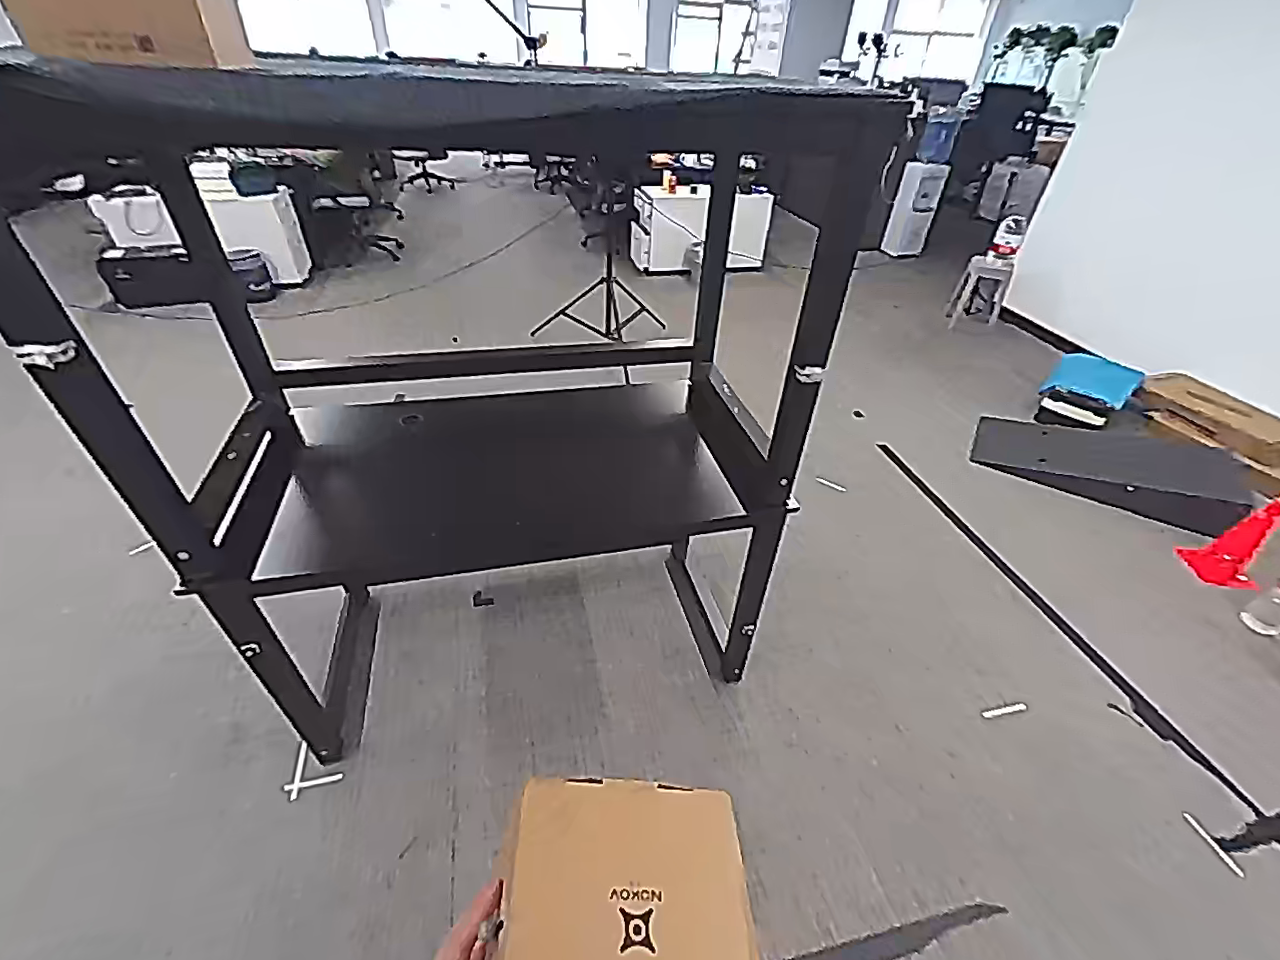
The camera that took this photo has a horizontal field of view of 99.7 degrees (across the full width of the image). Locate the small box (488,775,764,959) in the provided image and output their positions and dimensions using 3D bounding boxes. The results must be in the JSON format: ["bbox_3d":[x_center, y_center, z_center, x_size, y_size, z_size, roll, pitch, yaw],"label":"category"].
[{"bbox_3d":[-0.021,0.348,0.391,0.168,0.176,0.179,11,35,-11],"label":"small box"}]
